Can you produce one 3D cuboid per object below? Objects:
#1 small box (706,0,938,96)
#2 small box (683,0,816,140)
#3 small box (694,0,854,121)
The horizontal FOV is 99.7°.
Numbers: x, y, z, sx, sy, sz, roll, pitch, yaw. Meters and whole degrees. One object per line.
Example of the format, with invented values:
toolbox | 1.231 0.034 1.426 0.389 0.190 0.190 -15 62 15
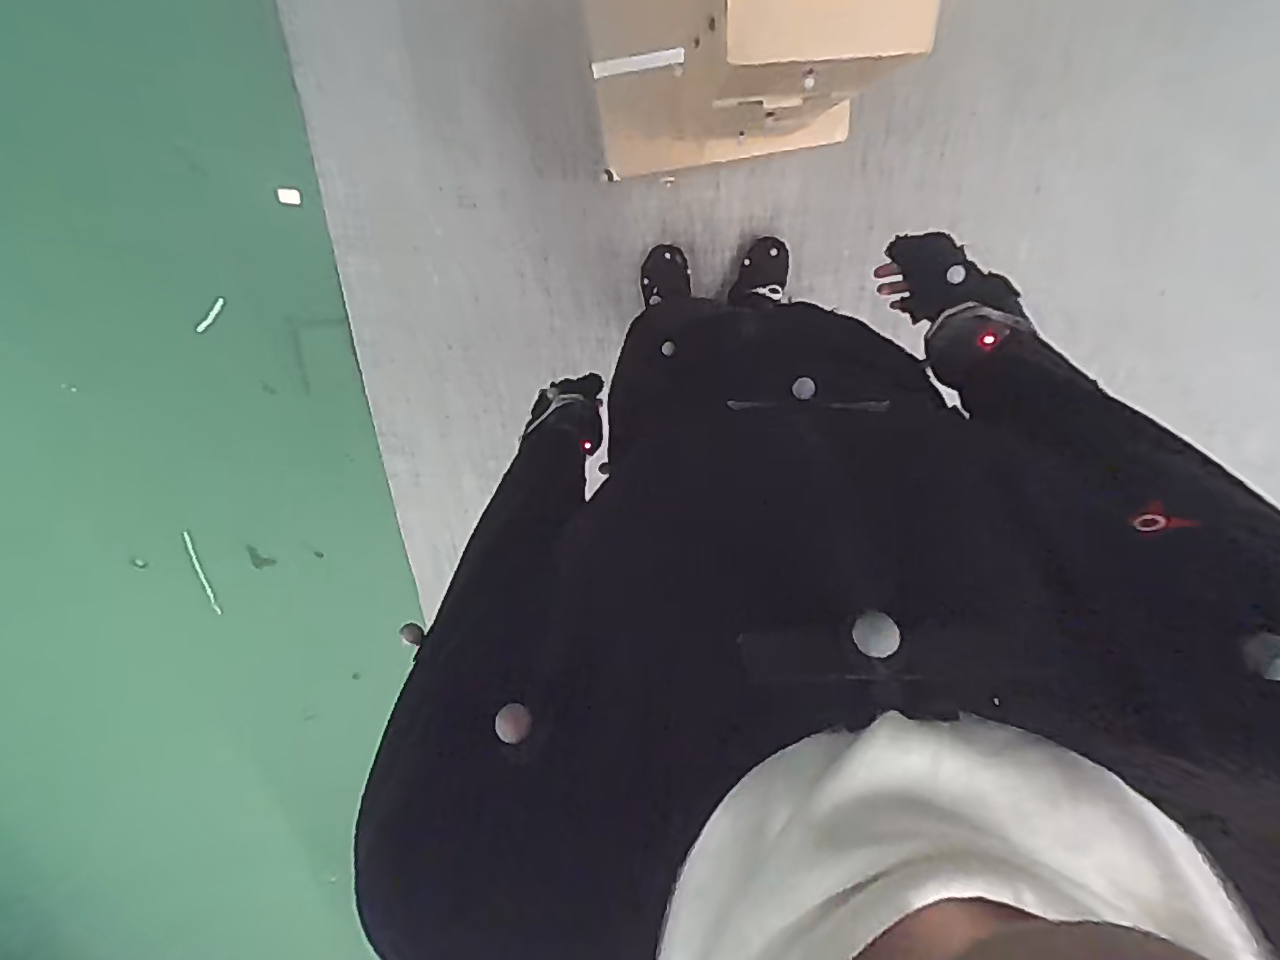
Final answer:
small box | 0.153 -0.463 0.489 0.179 0.176 0.168 -3 118 1
small box | 0.155 -0.601 0.784 0.179 0.176 0.168 -1 117 3
small box | 0.153 -0.535 0.635 0.168 0.176 0.179 -3 117 3
